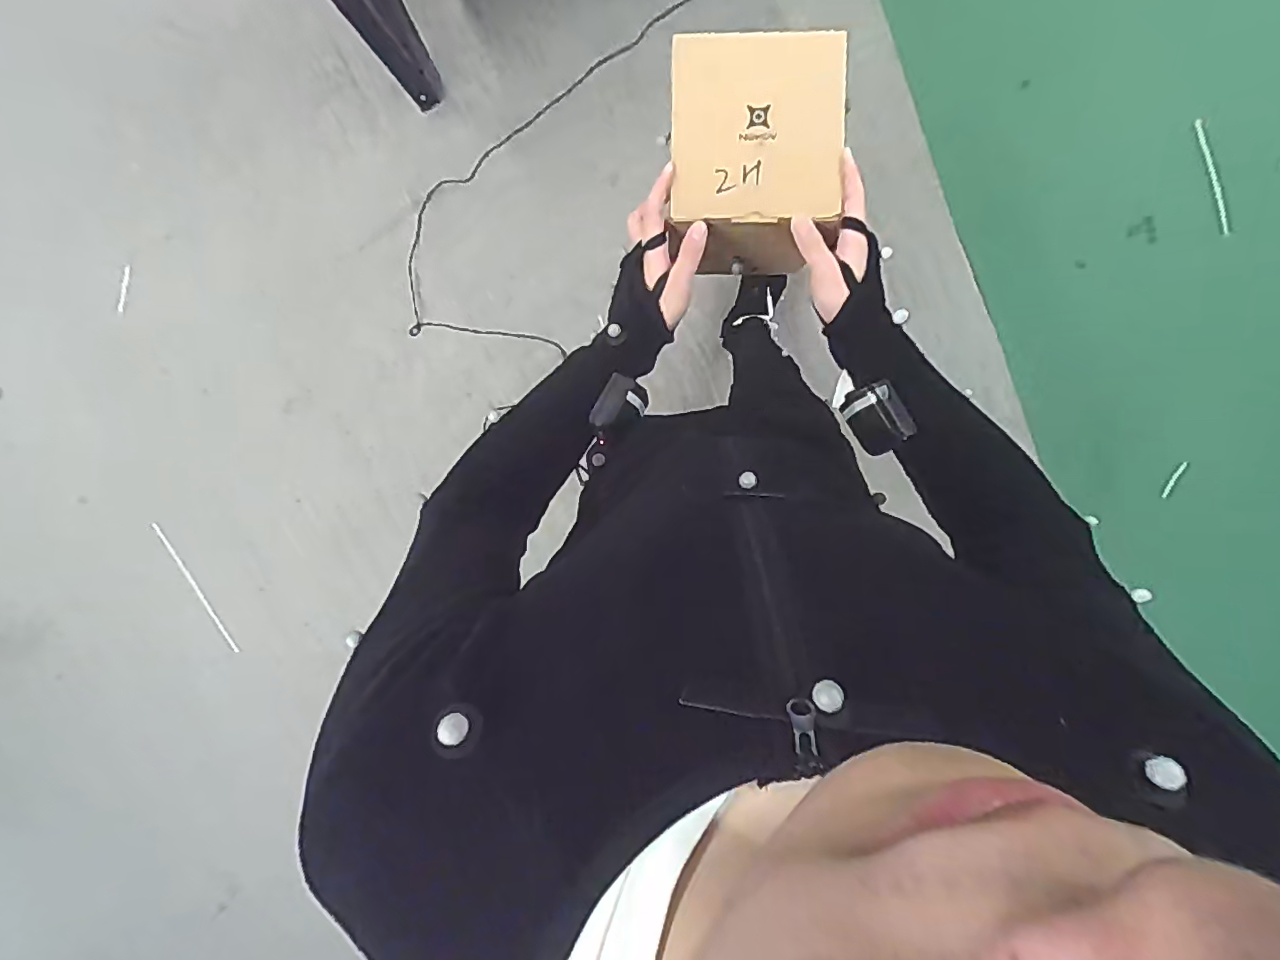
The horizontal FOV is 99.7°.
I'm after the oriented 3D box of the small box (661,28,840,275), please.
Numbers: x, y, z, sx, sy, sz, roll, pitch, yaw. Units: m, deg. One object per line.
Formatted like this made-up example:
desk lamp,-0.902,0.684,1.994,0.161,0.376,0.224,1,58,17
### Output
small box,0.108,-0.343,0.593,0.168,0.176,0.179,1,93,3
